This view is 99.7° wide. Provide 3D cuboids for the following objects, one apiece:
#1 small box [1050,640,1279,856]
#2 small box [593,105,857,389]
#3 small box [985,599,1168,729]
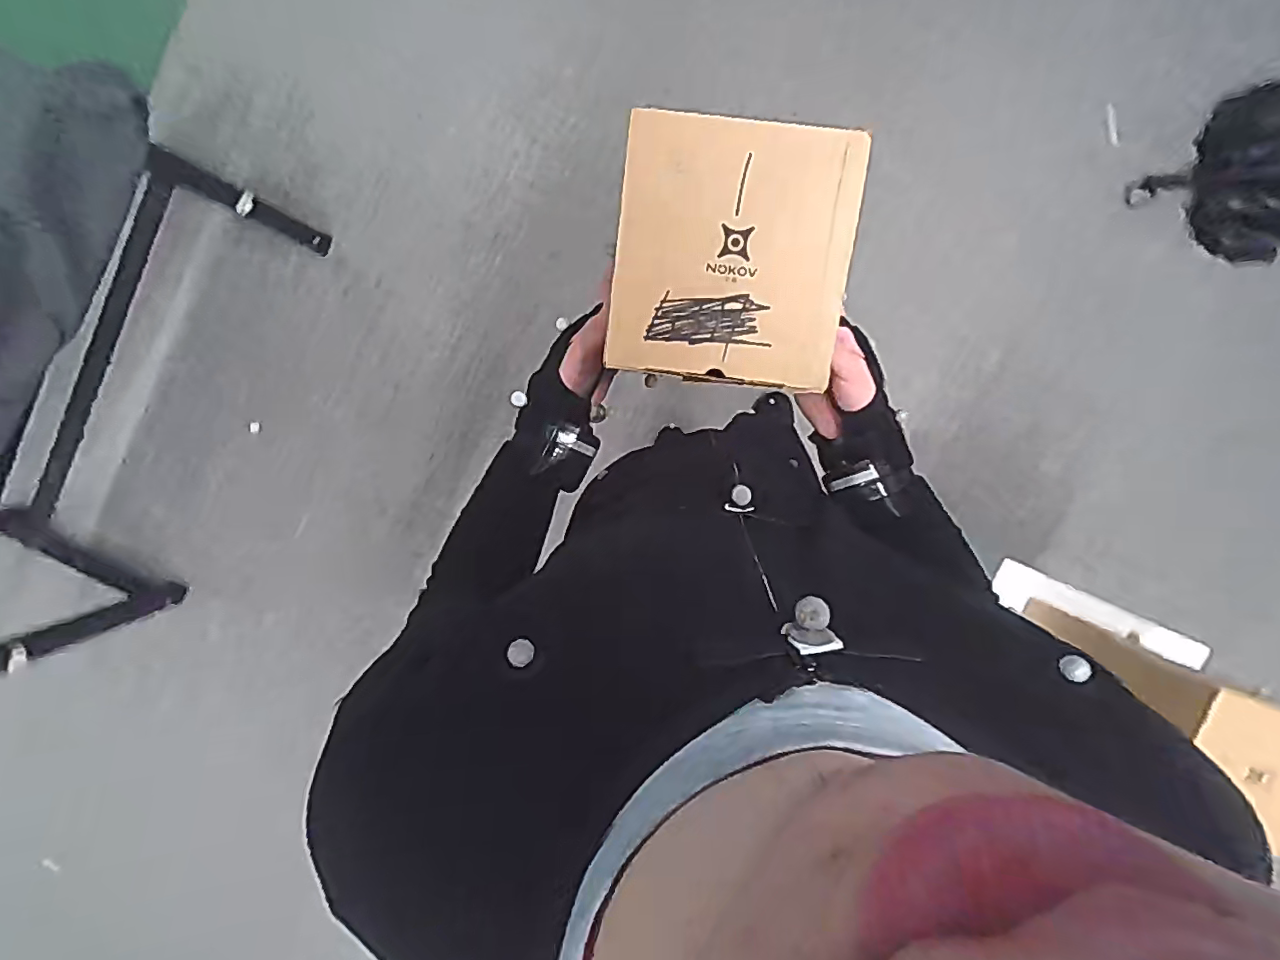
[{"bbox_3d":[0.709,0.336,0.714,0.179,0.176,0.168,20,97,0],"label":"small box"},{"bbox_3d":[0.061,-0.177,0.460,0.168,0.176,0.179,7,101,2],"label":"small box"},{"bbox_3d":[0.717,0.316,0.876,0.179,0.176,0.168,23,98,-1],"label":"small box"}]
